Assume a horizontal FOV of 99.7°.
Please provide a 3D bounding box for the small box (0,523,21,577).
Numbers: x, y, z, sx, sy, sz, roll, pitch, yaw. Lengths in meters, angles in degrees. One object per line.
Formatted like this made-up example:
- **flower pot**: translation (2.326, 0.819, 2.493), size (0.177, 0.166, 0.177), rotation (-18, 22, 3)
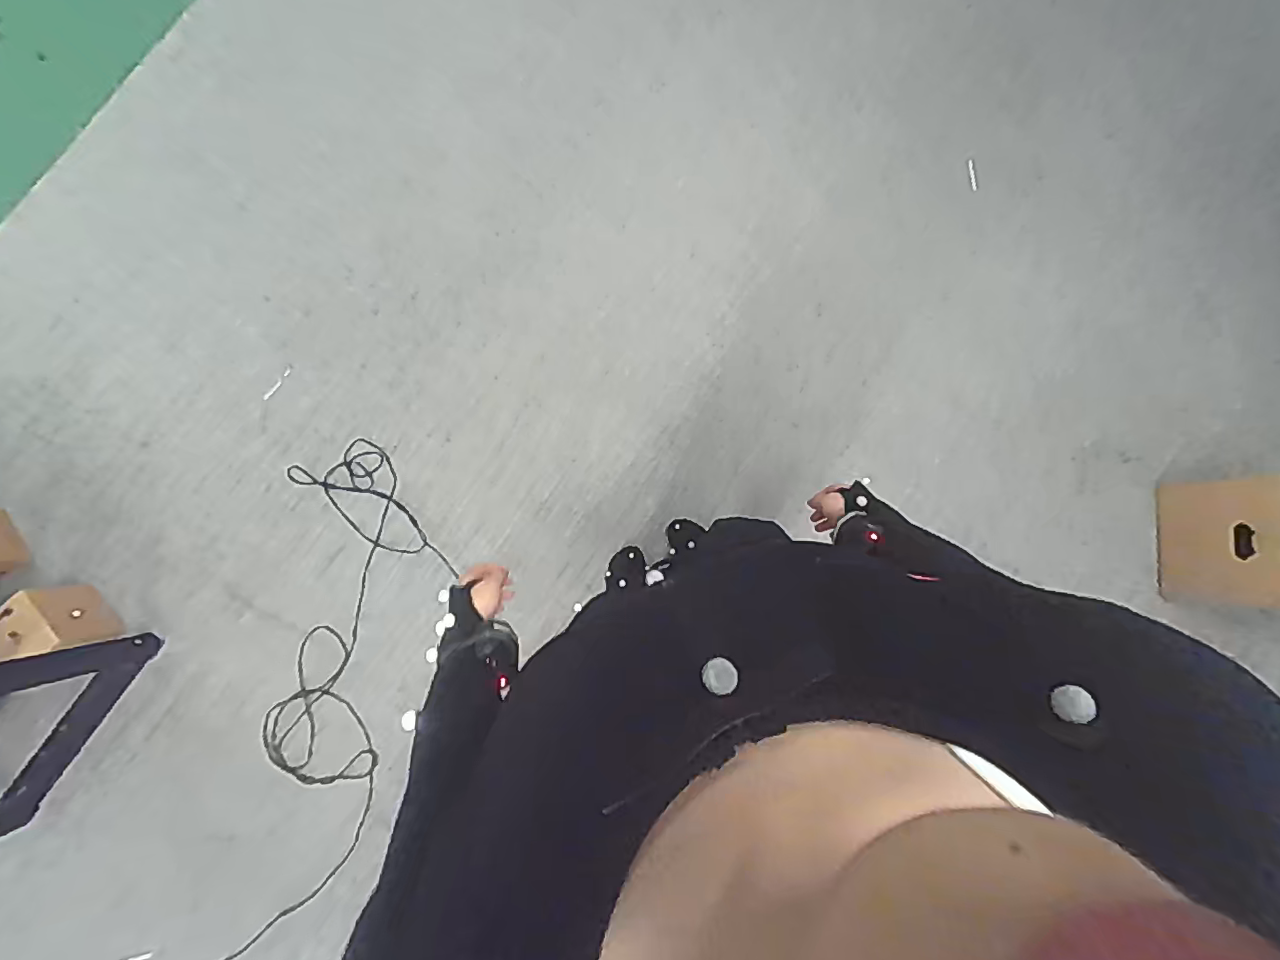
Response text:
- **small box**: translation (-1.805, 0.191, 1.404), size (0.168, 0.176, 0.179), rotation (-35, 86, -3)

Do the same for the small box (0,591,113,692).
- **small box**: translation (-1.529, 0.401, 1.382), size (0.168, 0.176, 0.179), rotation (-43, 86, -5)
